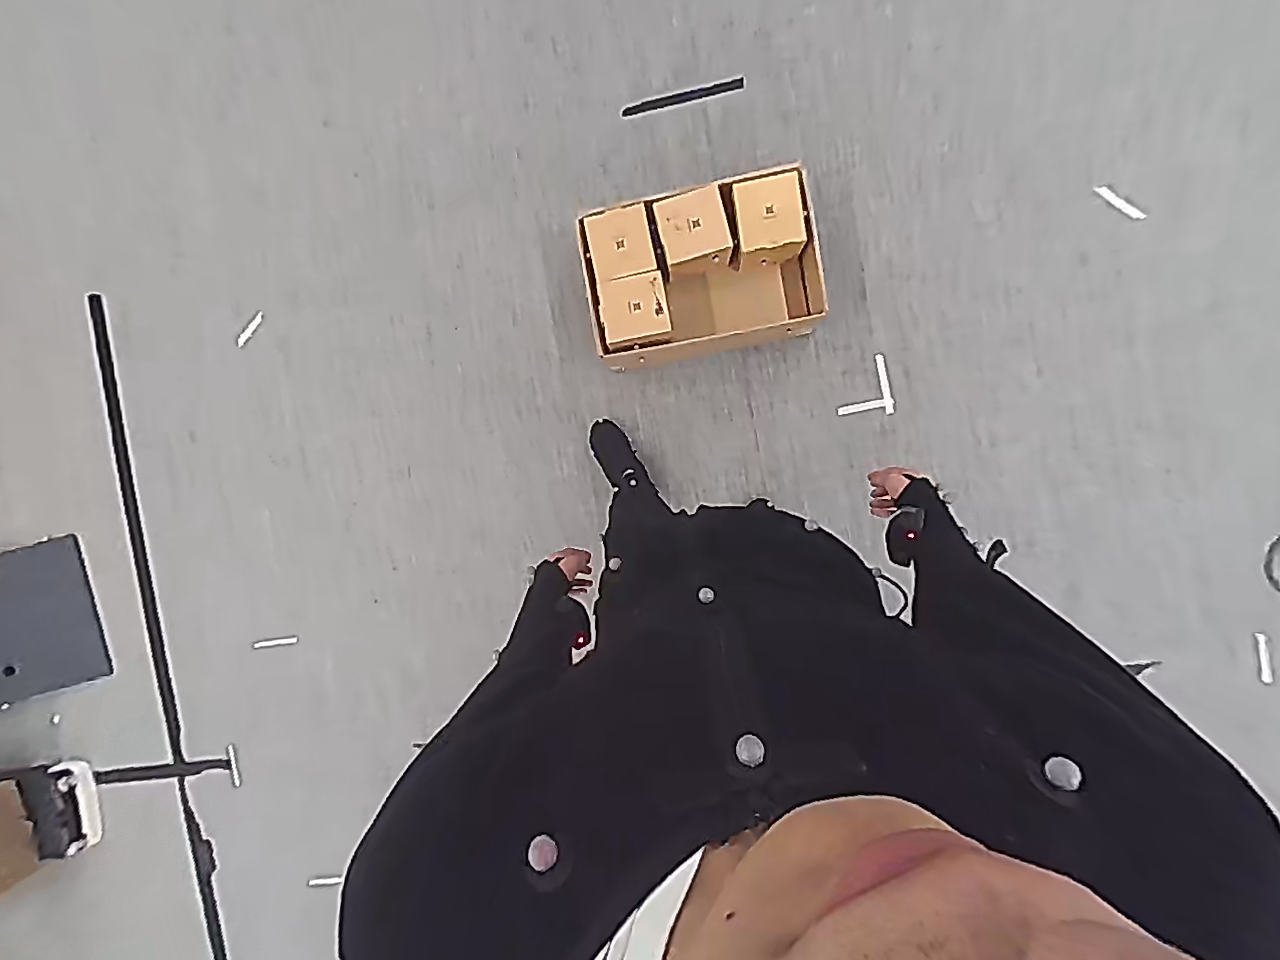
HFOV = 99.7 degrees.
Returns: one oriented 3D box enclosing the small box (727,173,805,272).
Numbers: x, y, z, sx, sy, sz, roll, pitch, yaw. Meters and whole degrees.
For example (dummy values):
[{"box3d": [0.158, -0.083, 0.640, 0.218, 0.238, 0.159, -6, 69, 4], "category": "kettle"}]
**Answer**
[{"box3d": [0.332, -0.686, 1.456, 0.168, 0.176, 0.179, -10, 94, 6], "category": "small box"}]
